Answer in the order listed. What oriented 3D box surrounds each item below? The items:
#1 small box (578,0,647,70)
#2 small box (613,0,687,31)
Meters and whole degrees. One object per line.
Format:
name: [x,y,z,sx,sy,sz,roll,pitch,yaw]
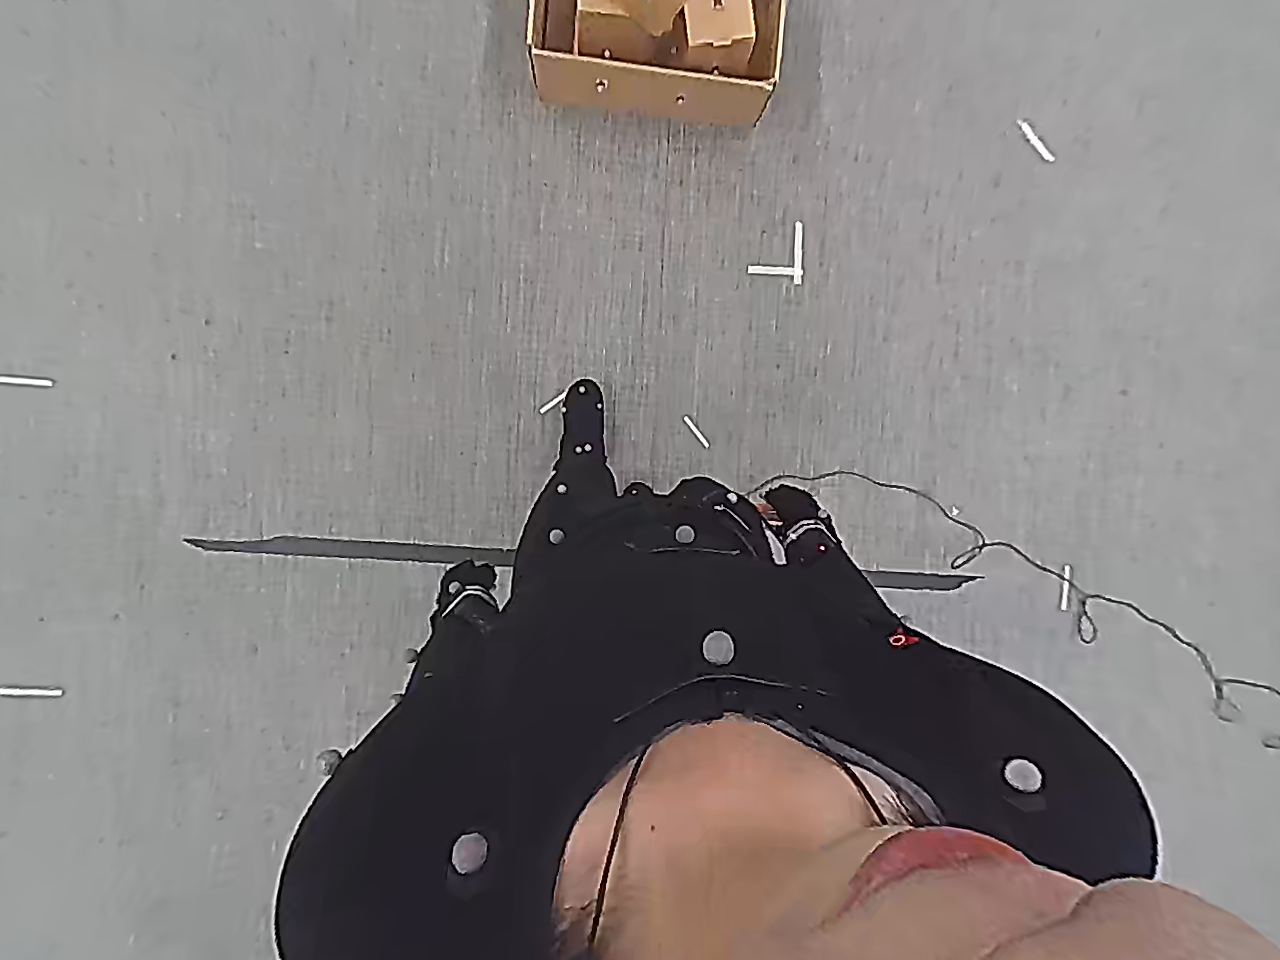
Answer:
small box: [-0.069,-1.173,1.341,0.168,0.176,0.179,2,91,-6]
small box: [0.031,-1.151,1.188,0.179,0.176,0.168,36,86,-4]
